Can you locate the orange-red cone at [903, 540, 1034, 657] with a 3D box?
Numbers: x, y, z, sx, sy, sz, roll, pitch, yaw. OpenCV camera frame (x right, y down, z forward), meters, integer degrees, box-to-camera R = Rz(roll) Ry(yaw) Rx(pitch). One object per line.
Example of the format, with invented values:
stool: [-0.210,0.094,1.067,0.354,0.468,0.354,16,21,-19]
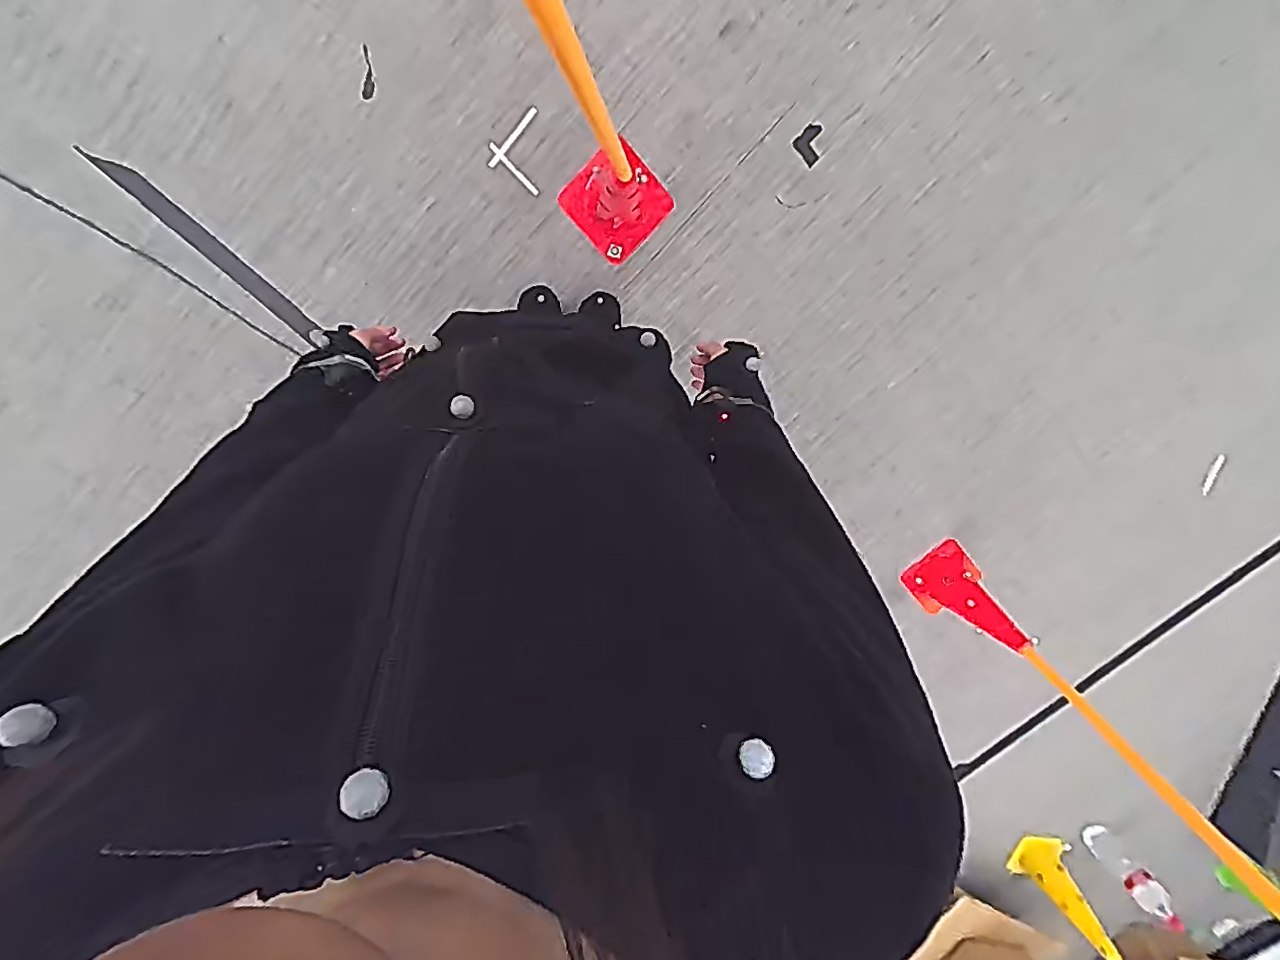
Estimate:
orange-red cone: [0.933,0.356,1.483,0.198,0.360,0.199,-40,109,10]
